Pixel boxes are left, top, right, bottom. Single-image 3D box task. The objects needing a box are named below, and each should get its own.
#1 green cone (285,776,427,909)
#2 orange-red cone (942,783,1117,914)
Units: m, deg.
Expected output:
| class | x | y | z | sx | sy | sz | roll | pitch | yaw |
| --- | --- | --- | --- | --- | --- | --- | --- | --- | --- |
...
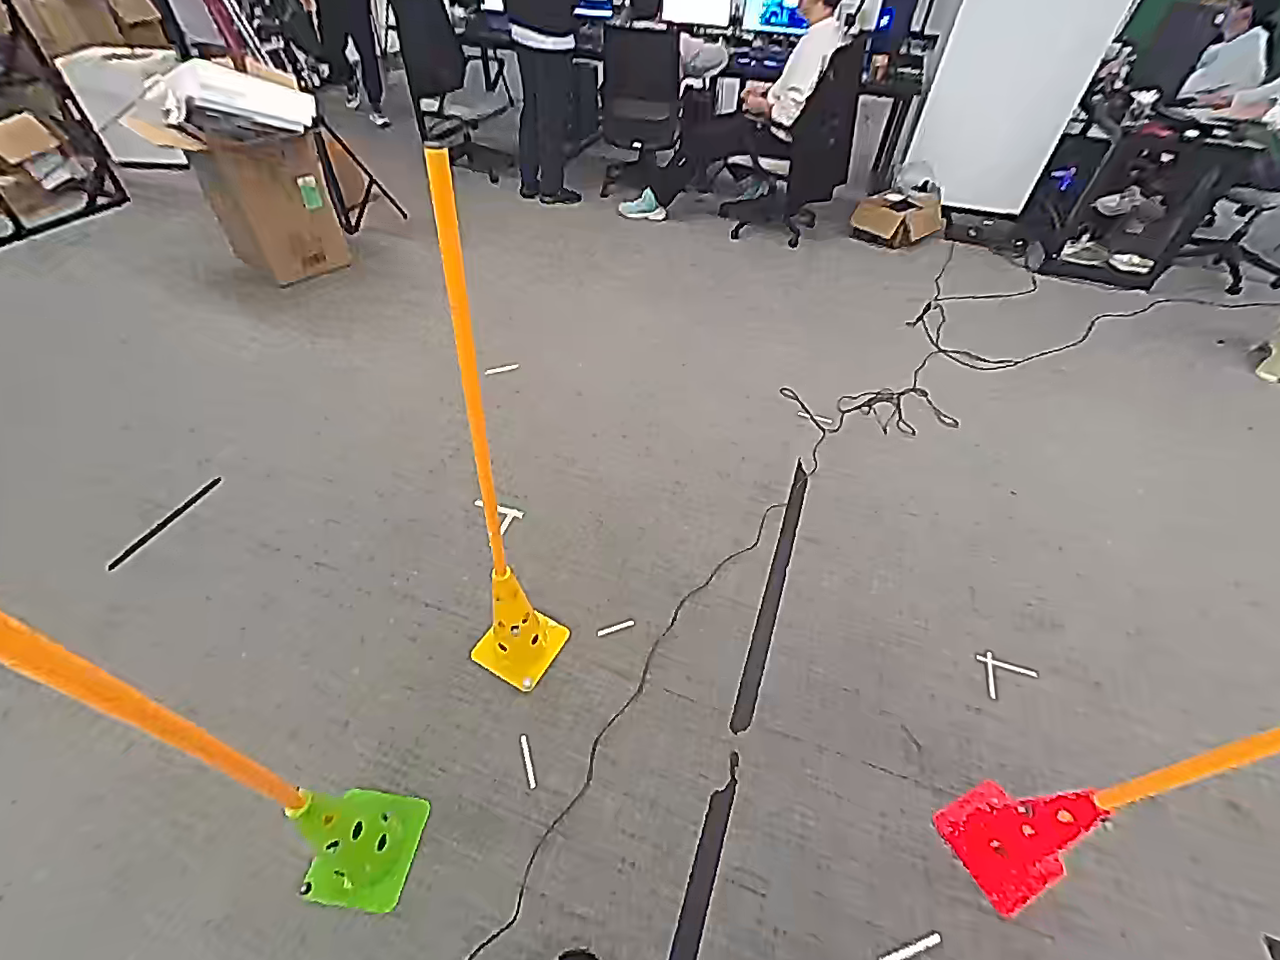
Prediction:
| class | x | y | z | sx | sy | sz | roll | pitch | yaw |
| --- | --- | --- | --- | --- | --- | --- | --- | --- | --- |
| green cone | -0.561 | 0.633 | 1.000 | 0.200 | 0.368 | 0.202 | 7 | 45 | 3 |
| orange-red cone | 0.786 | 0.667 | 1.041 | 0.199 | 0.360 | 0.198 | -17 | 48 | -17 |
